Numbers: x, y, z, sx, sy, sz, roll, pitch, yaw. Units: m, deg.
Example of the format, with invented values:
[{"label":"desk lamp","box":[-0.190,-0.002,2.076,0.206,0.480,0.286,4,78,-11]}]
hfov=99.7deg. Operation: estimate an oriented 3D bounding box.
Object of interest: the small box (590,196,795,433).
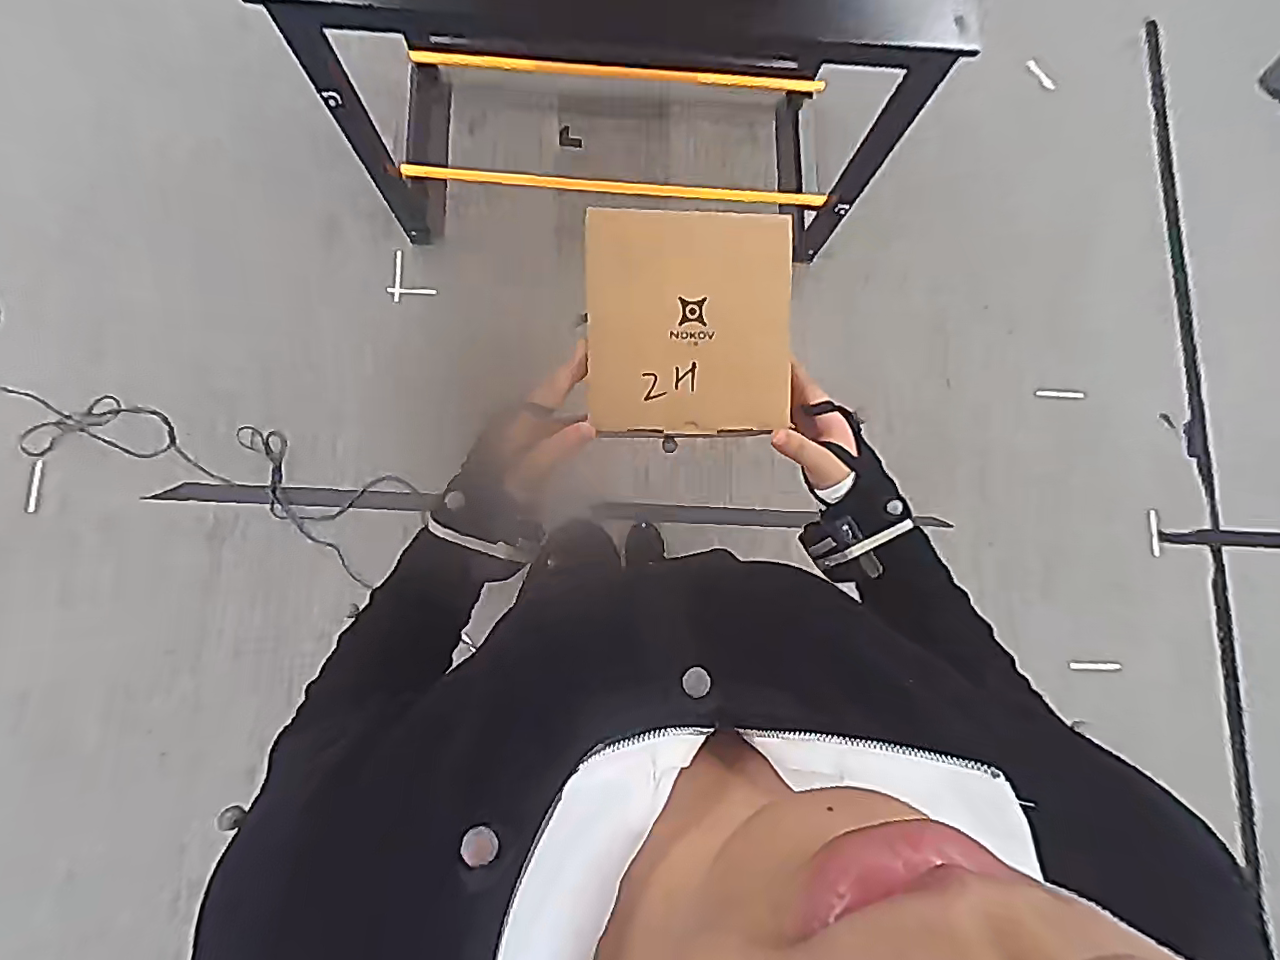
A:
[{"label":"small box","box":[0.036,-0.138,0.510,0.168,0.176,0.179,-1,92,-4]}]
